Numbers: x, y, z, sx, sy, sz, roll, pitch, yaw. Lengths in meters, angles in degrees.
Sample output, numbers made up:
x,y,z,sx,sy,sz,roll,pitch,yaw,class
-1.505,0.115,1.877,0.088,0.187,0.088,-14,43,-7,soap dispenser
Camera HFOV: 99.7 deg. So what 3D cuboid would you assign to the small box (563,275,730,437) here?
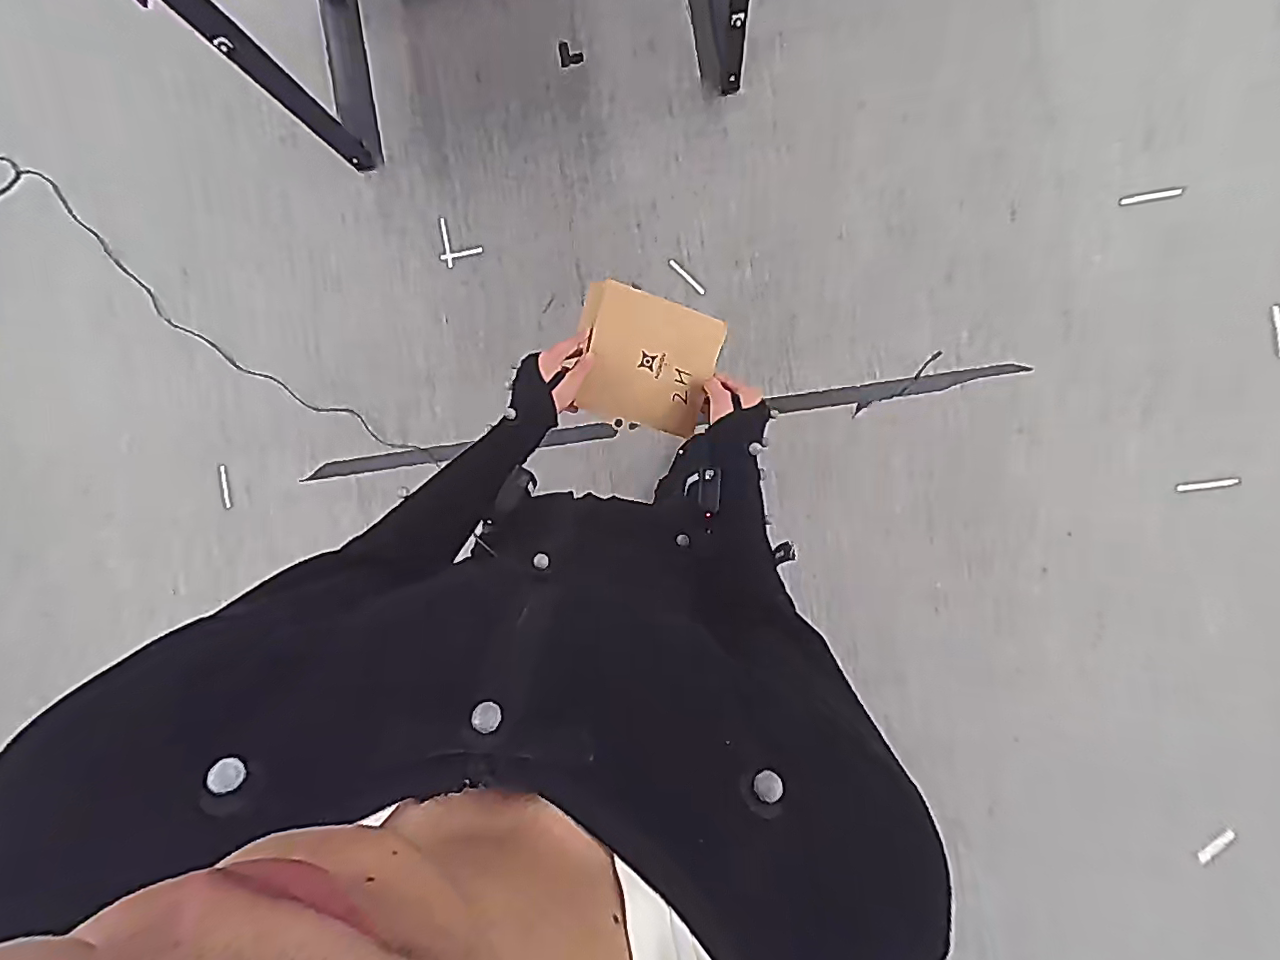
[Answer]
x,y,z,sx,sy,sz,roll,pitch,yaw,class
-0.003,-0.175,0.774,0.179,0.176,0.168,15,102,-18,small box
